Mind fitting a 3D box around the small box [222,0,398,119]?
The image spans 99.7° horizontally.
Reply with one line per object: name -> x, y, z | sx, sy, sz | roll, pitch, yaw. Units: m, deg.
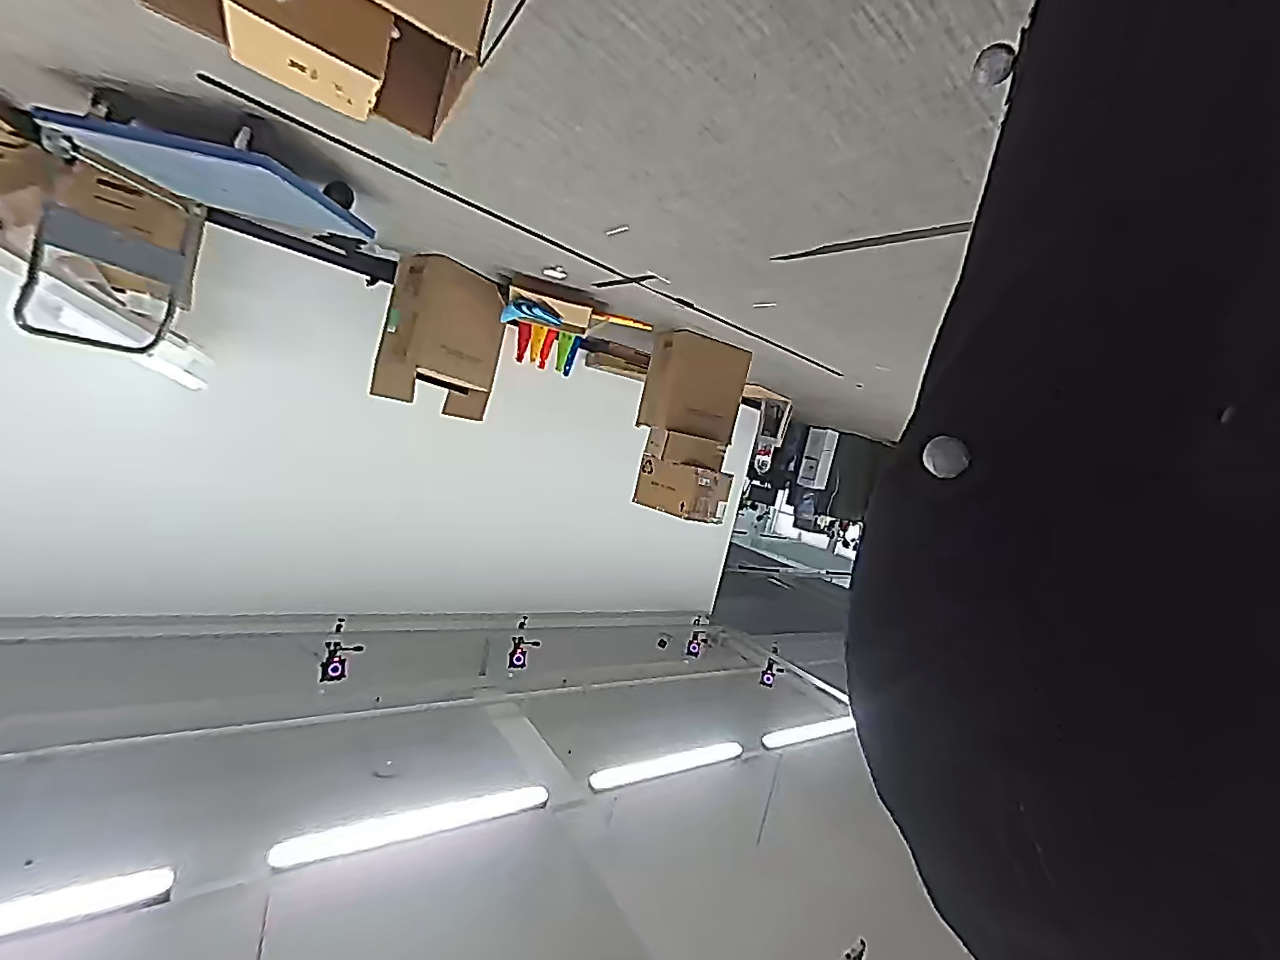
small box -> -0.443, -0.649, 0.736 | 0.179, 0.176, 0.168 | 10, -174, -36
